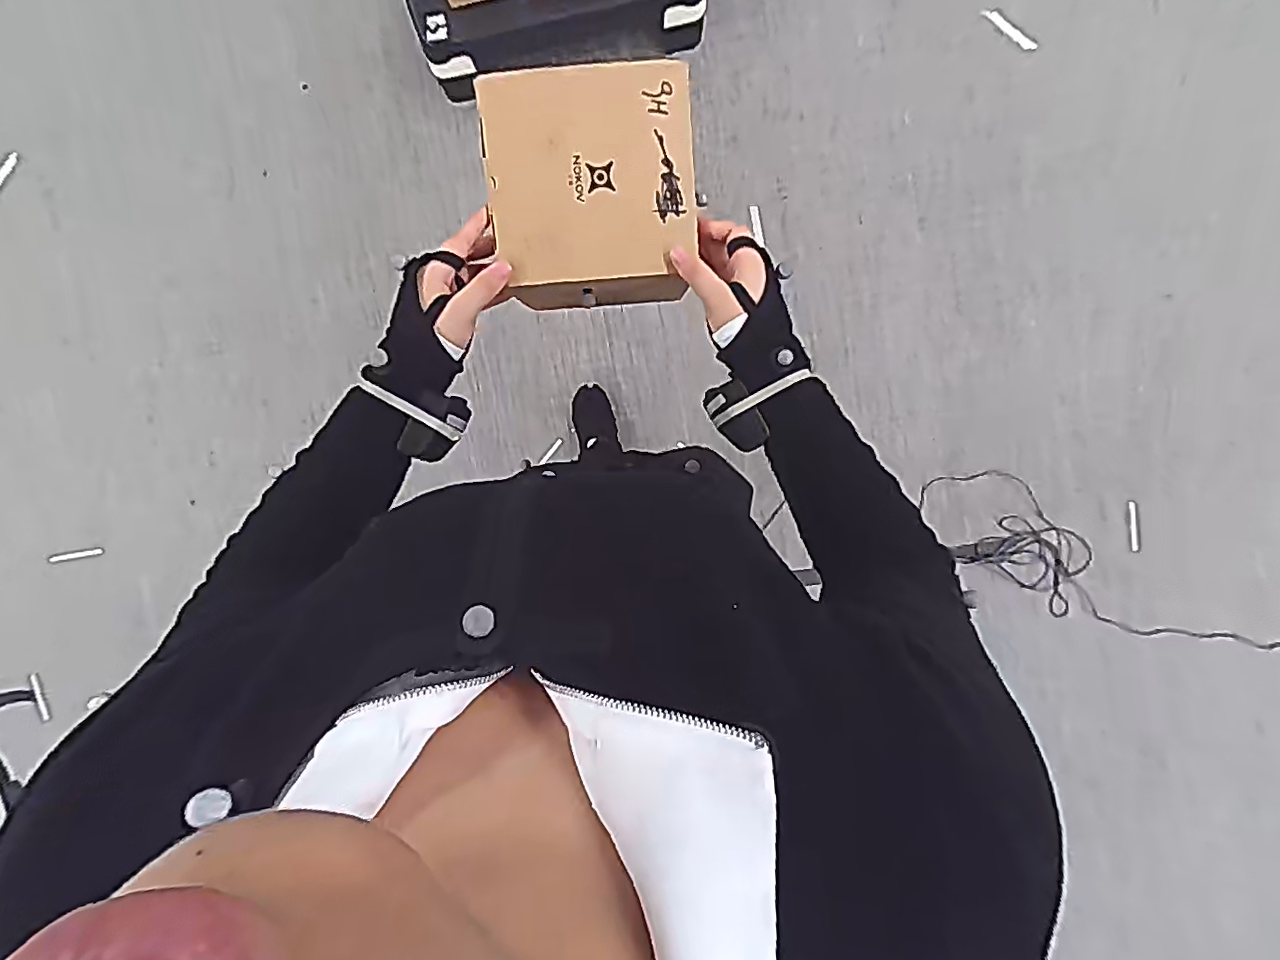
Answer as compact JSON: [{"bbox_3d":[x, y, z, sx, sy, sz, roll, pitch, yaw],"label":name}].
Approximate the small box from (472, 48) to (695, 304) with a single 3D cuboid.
[{"bbox_3d":[-0.043,-0.271,0.524,0.179,0.176,0.168,-4,100,1],"label":"small box"}]
